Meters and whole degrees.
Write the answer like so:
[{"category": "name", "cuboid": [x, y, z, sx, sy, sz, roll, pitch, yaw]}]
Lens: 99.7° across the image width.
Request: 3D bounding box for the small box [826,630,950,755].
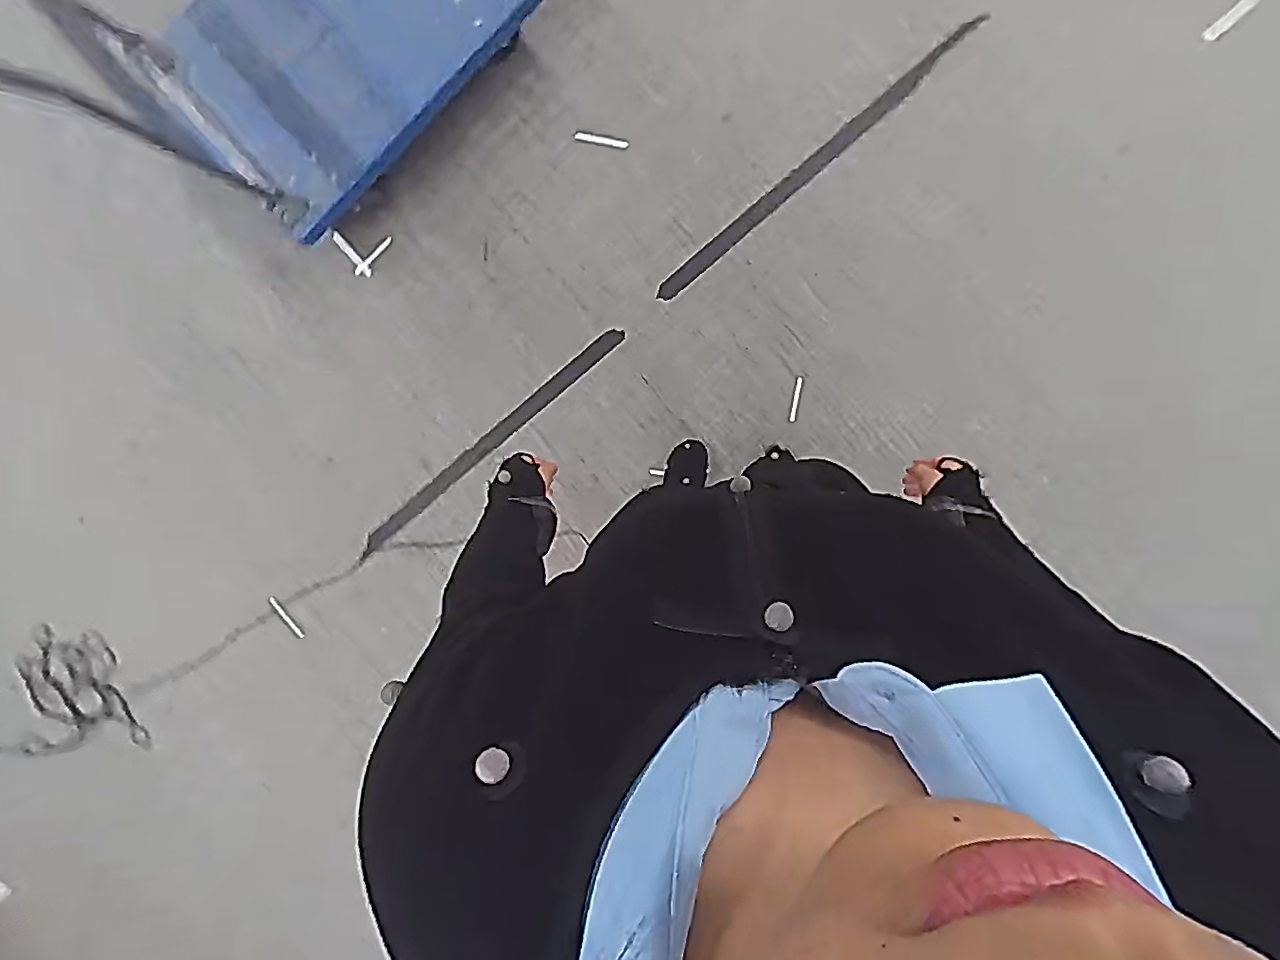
[{"category": "small box", "cuboid": [0.566, 0.483, 1.258, 0.168, 0.176, 0.179, -39, 91, 6]}]
